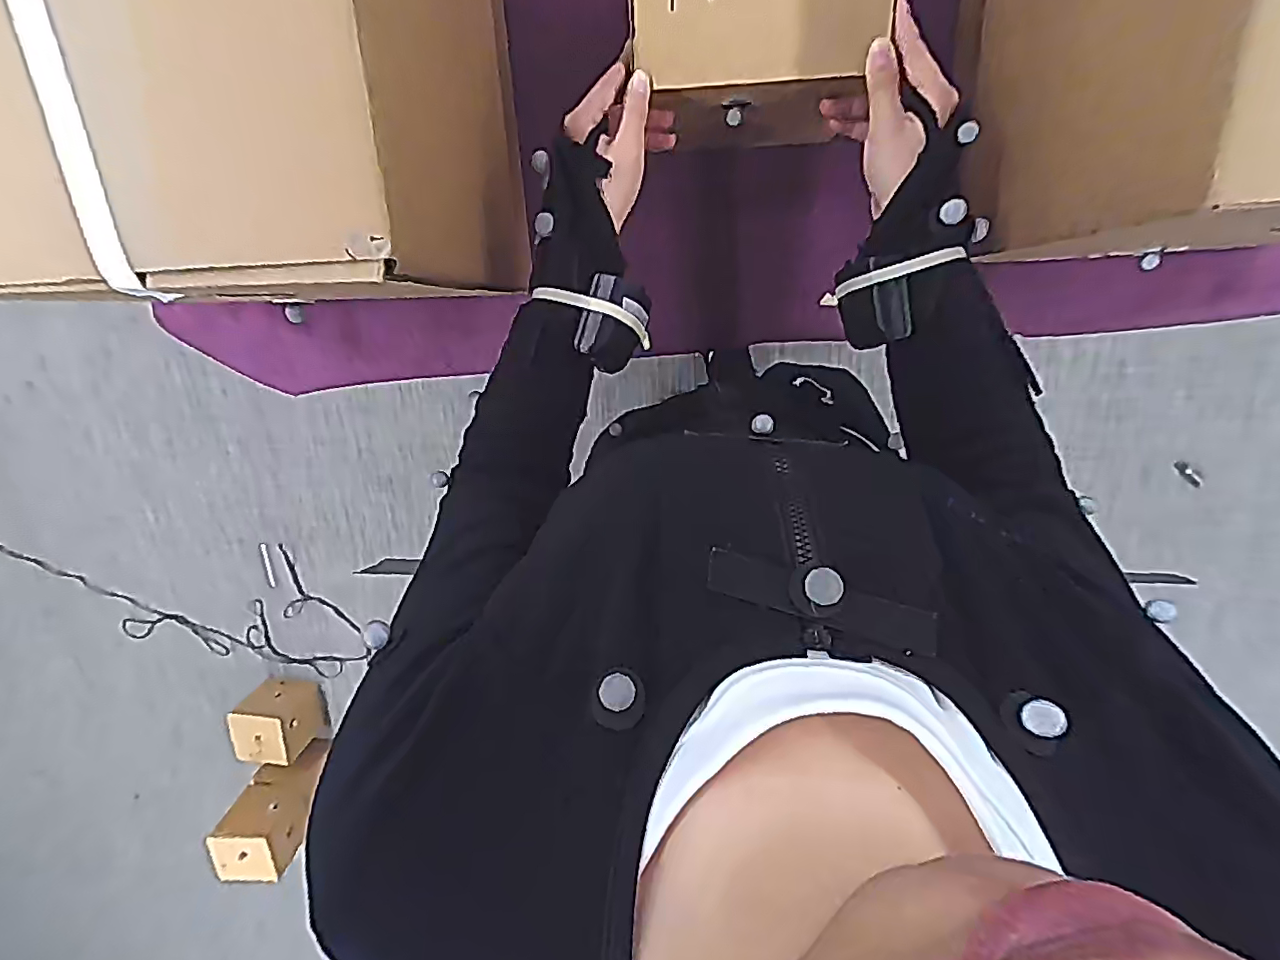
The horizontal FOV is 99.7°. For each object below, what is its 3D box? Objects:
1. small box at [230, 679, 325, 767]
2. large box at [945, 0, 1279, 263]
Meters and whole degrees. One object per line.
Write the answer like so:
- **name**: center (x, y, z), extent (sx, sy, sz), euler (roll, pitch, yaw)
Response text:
- **small box**: center (-1.102, 0.739, 1.658), extent (0.168, 0.176, 0.179), euler (5, 109, 5)
- **large box**: center (0.415, -0.366, 0.315), extent (0.320, 0.320, 0.408), euler (-2, 106, 6)
